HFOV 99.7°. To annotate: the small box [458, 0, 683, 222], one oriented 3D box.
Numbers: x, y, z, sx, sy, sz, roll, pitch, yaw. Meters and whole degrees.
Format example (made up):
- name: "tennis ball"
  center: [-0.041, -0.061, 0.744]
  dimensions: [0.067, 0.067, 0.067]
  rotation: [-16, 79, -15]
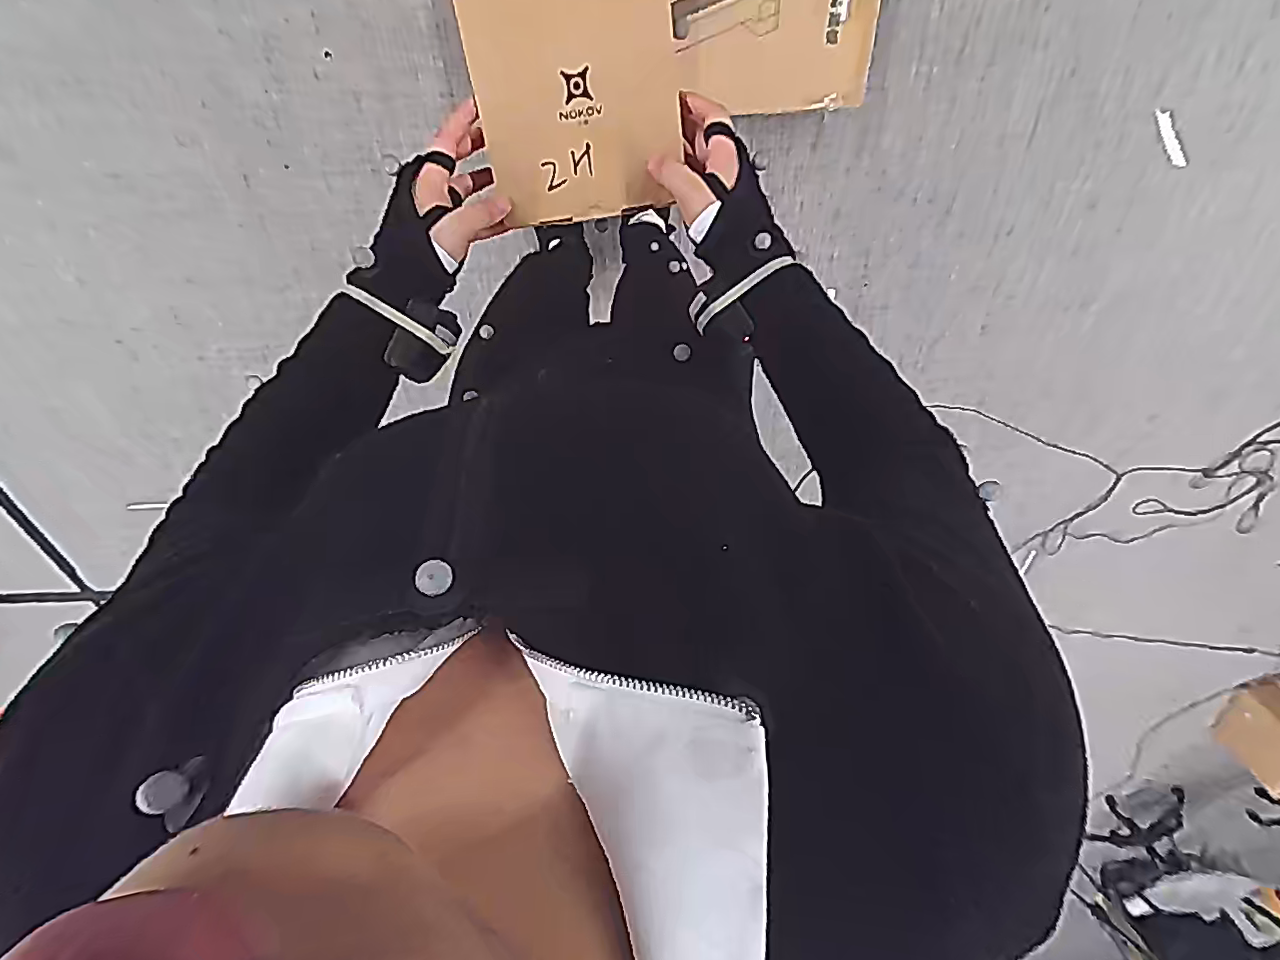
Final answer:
- name: "small box"
  center: [-0.054, -0.352, 0.516]
  dimensions: [0.168, 0.176, 0.179]
  rotation: [-7, 117, 3]
